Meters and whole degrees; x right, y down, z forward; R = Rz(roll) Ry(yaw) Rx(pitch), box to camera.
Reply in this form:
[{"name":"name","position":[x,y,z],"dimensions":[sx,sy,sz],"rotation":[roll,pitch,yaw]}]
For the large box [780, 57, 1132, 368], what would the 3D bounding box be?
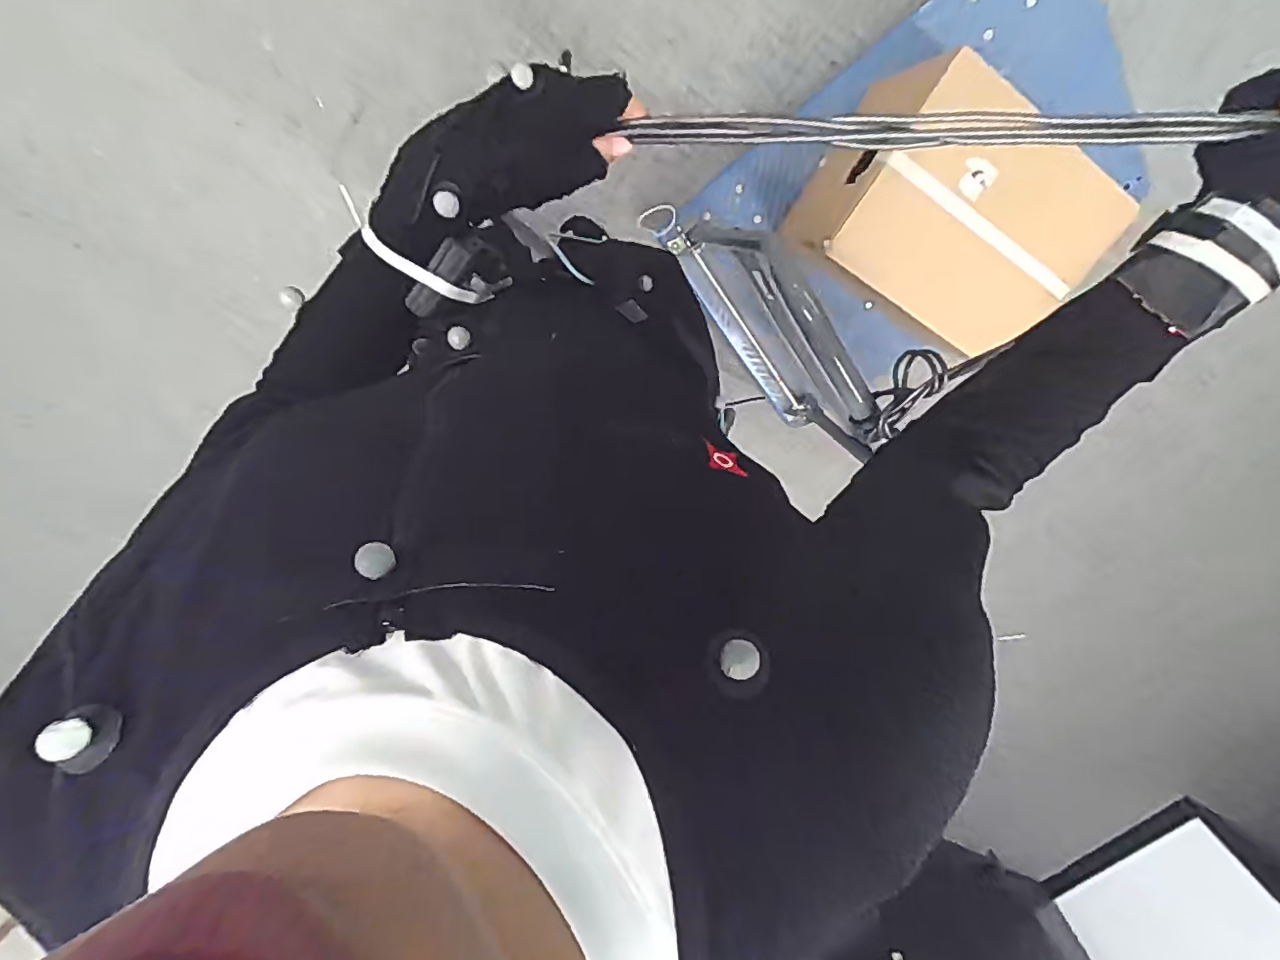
[{"name":"large box","position":[0.541,-0.471,1.005],"dimensions":[0.408,0.320,0.320],"rotation":[28,113,-15]}]
